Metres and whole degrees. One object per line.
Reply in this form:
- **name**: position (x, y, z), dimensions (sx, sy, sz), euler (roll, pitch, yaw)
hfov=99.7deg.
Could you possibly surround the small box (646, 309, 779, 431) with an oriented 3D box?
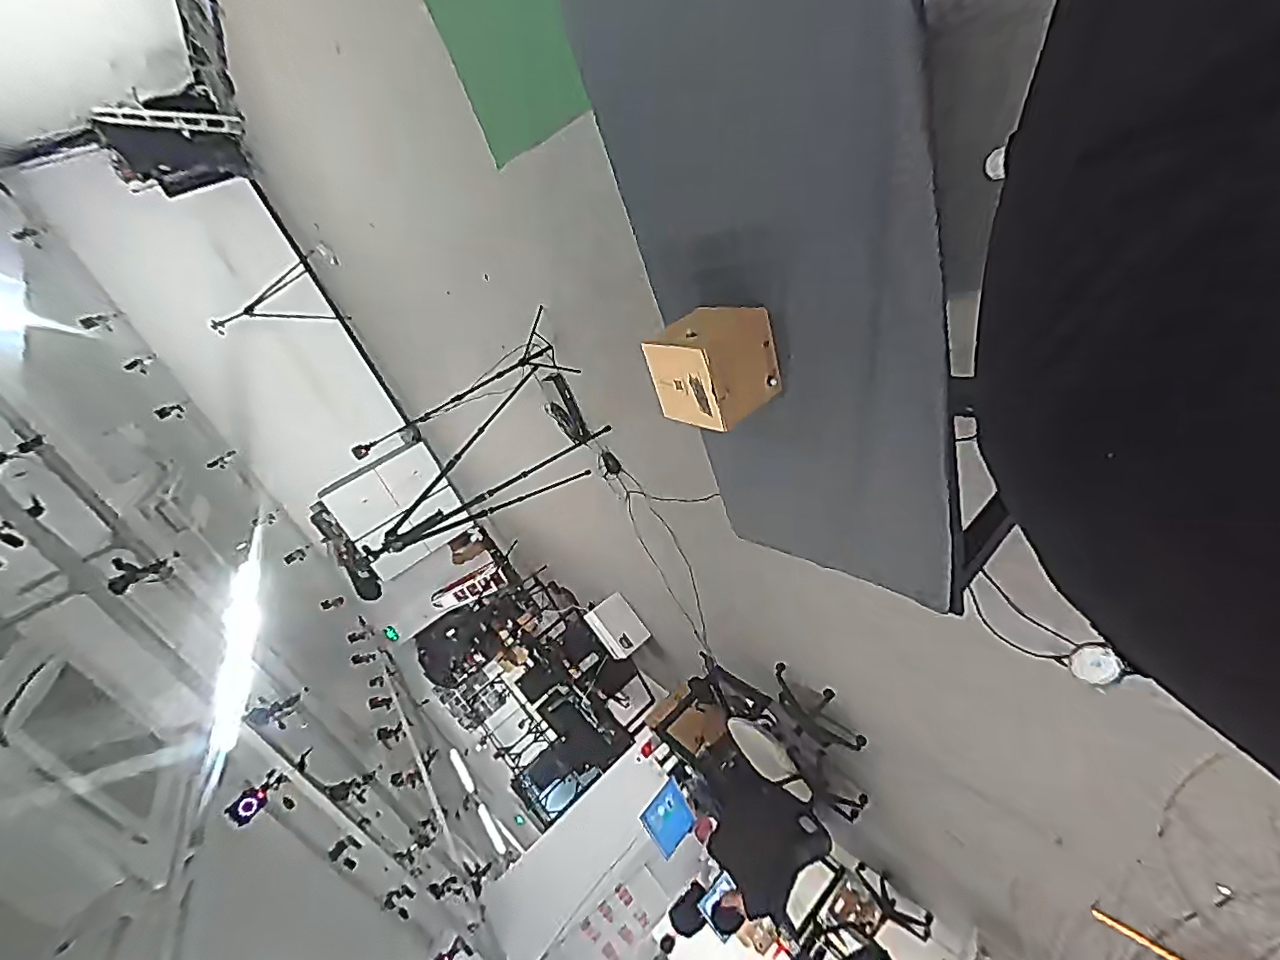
- **small box**: position (0.147, -0.218, 1.036), dimensions (0.179, 0.176, 0.168), euler (23, 142, 50)
